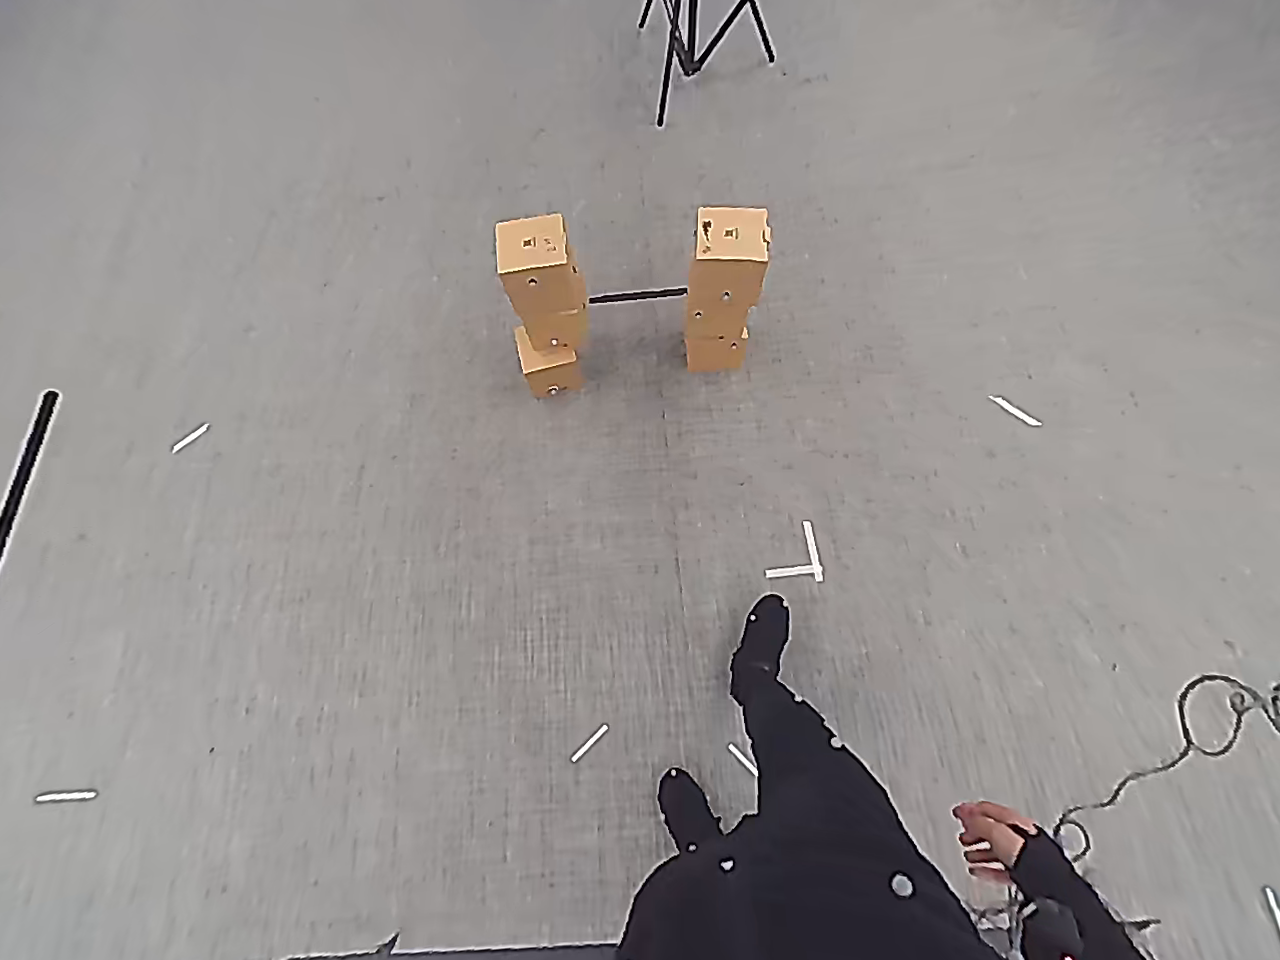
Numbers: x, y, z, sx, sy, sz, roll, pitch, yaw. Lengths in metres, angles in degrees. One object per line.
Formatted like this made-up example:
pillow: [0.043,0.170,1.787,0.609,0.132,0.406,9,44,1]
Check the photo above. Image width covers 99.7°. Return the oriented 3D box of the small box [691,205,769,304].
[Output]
small box: [0.227,-0.573,1.390,0.179,0.176,0.168,3,69,2]

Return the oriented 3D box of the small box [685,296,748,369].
small box: [0.233,-0.464,1.699,0.179,0.176,0.168,-4,70,0]

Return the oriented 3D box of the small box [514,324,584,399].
small box: [-0.282,-0.383,1.694,0.168,0.176,0.179,-15,70,-2]

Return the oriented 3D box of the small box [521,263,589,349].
small box: [-0.241,-0.499,1.561,0.168,0.176,0.179,-1,70,4]

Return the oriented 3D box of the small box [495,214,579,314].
small box: [-0.265,-0.555,1.408,0.179,0.176,0.168,-8,69,1]
